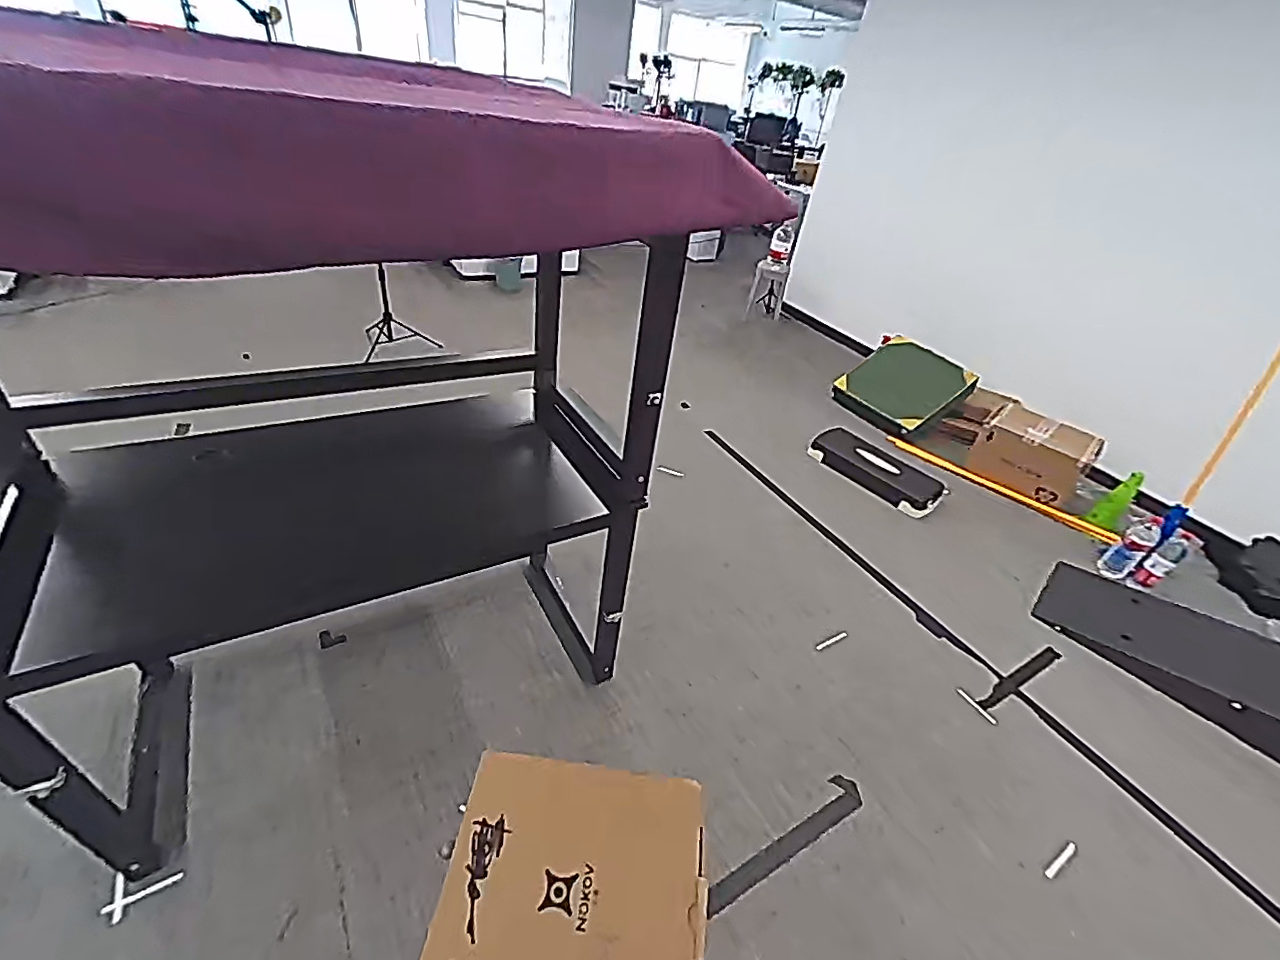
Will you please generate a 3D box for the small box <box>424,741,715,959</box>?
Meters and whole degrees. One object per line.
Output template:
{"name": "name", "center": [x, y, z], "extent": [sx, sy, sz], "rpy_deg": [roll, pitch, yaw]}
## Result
{"name": "small box", "center": [-0.046, 0.326, 0.414], "extent": [0.179, 0.176, 0.168], "rpy_deg": [8, 45, 3]}
